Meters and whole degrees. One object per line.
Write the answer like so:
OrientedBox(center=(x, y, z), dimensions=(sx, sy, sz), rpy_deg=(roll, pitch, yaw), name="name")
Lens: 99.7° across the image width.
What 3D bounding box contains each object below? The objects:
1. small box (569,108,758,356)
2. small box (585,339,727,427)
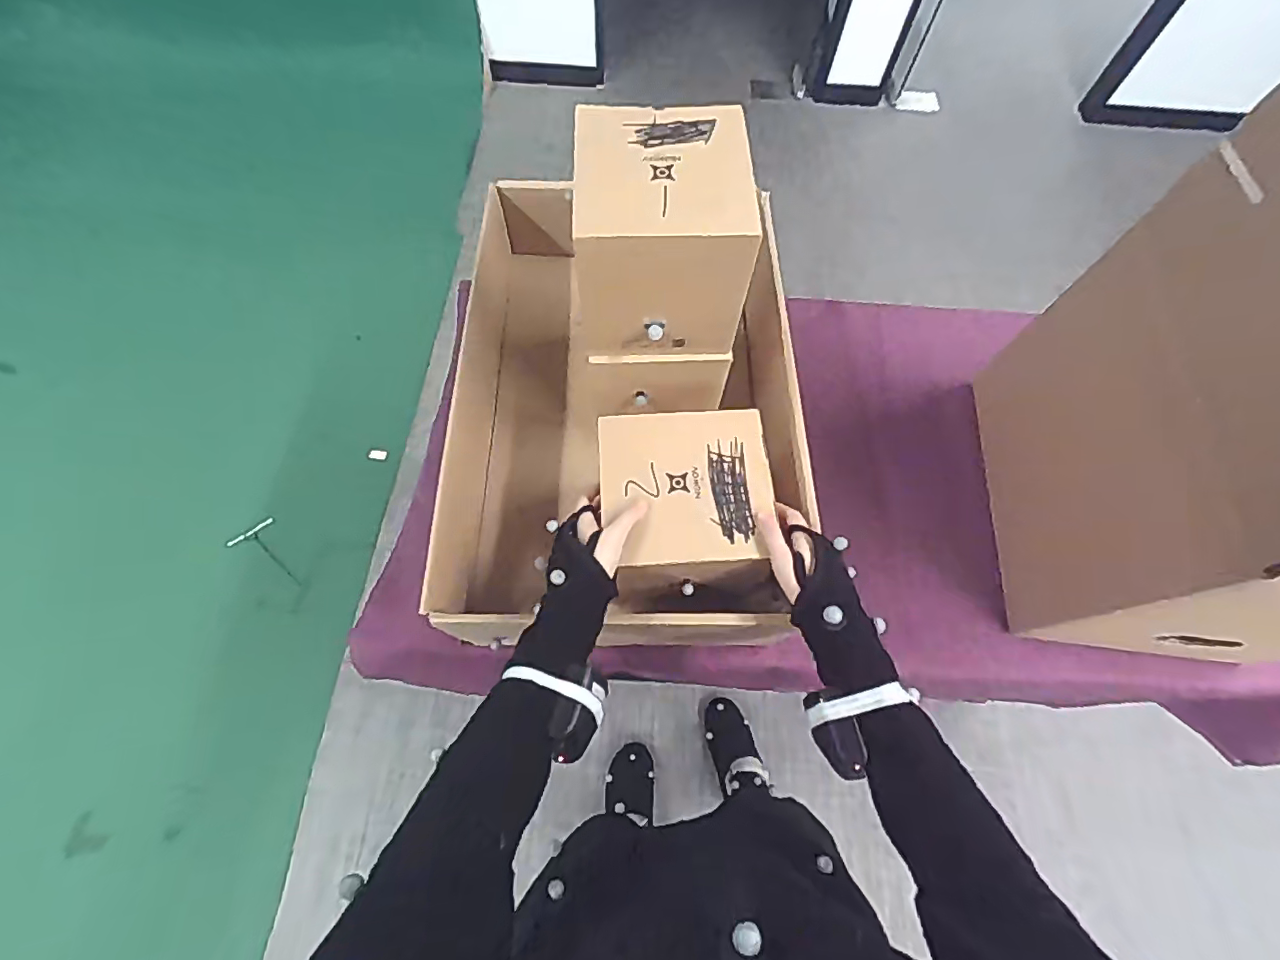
OrientedBox(center=(0.017, -0.251, 0.569), dimensions=(0.168, 0.176, 0.179), rpy_deg=(-2, 68, -1), name="small box")
OrientedBox(center=(0.016, -0.178, 0.718), dimensions=(0.168, 0.176, 0.179), rpy_deg=(-3, 67, -2), name="small box")
